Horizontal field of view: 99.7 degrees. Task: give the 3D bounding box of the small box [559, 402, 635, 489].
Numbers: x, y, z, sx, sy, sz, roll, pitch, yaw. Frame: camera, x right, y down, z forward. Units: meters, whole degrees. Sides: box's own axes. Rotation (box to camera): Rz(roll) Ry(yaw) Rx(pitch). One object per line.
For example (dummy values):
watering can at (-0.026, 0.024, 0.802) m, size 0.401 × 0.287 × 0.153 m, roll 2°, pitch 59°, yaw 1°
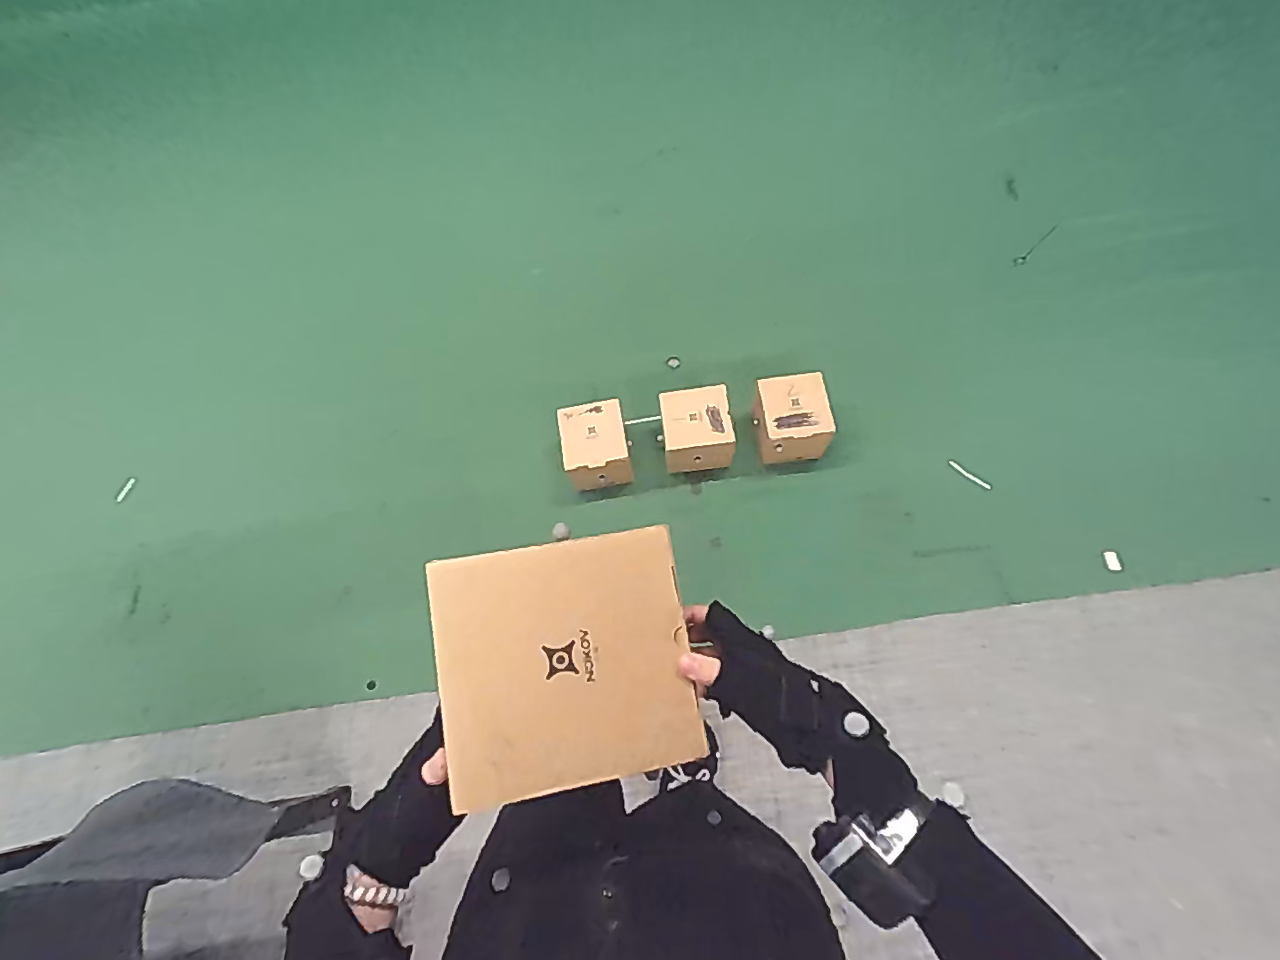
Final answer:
small box at (-0.111, -0.084, 1.441) m, size 0.168 × 0.176 × 0.179 m, roll -10°, pitch 71°, yaw 1°
